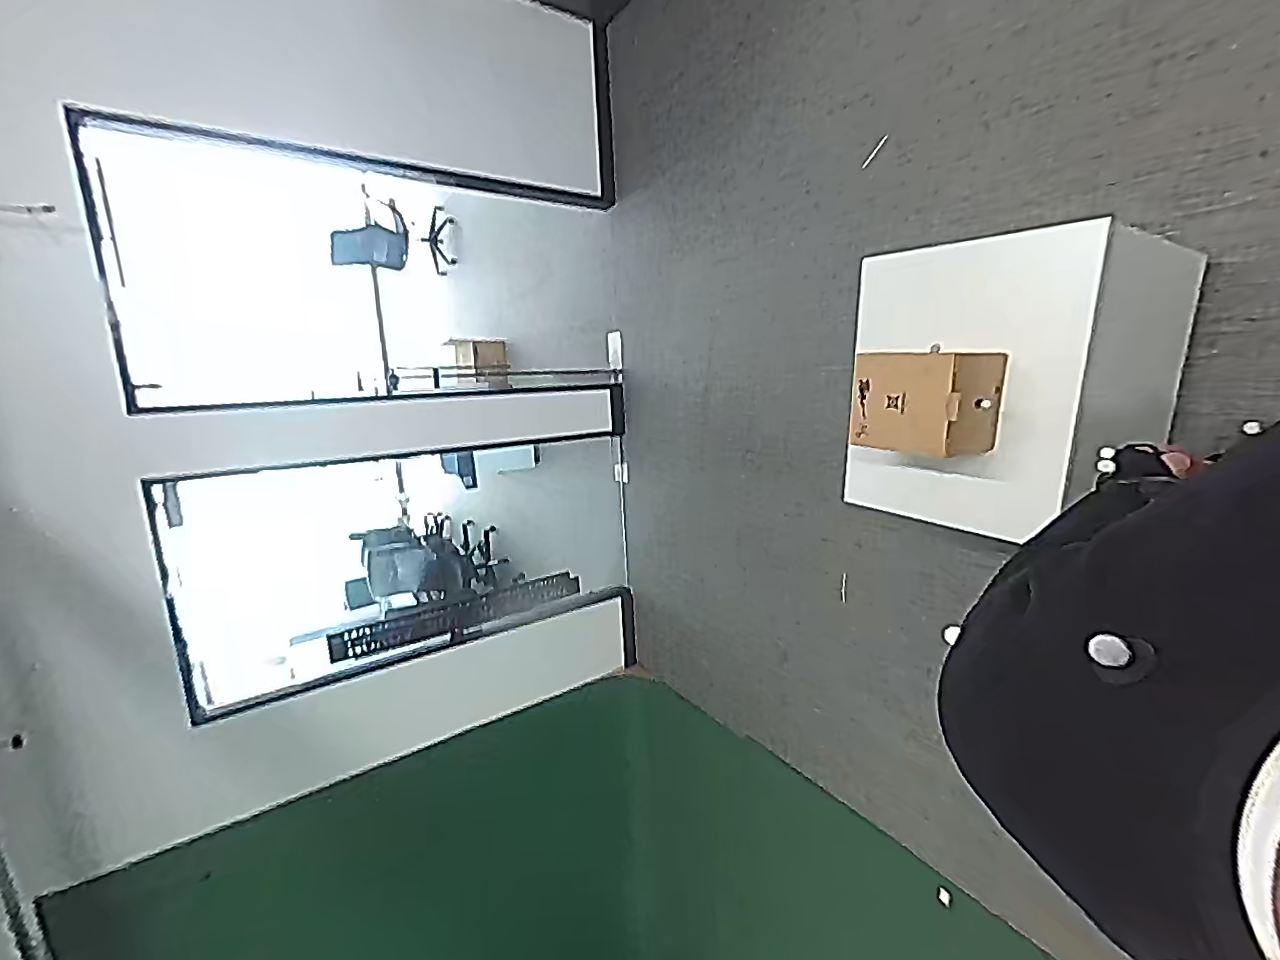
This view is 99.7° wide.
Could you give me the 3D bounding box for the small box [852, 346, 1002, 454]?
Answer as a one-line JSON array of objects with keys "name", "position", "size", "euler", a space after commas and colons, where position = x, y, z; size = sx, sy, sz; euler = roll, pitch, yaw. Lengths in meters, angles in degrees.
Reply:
[{"name": "small box", "position": [0.498, -0.144, 0.941], "size": [0.179, 0.176, 0.168], "euler": [14, 110, 55]}]
